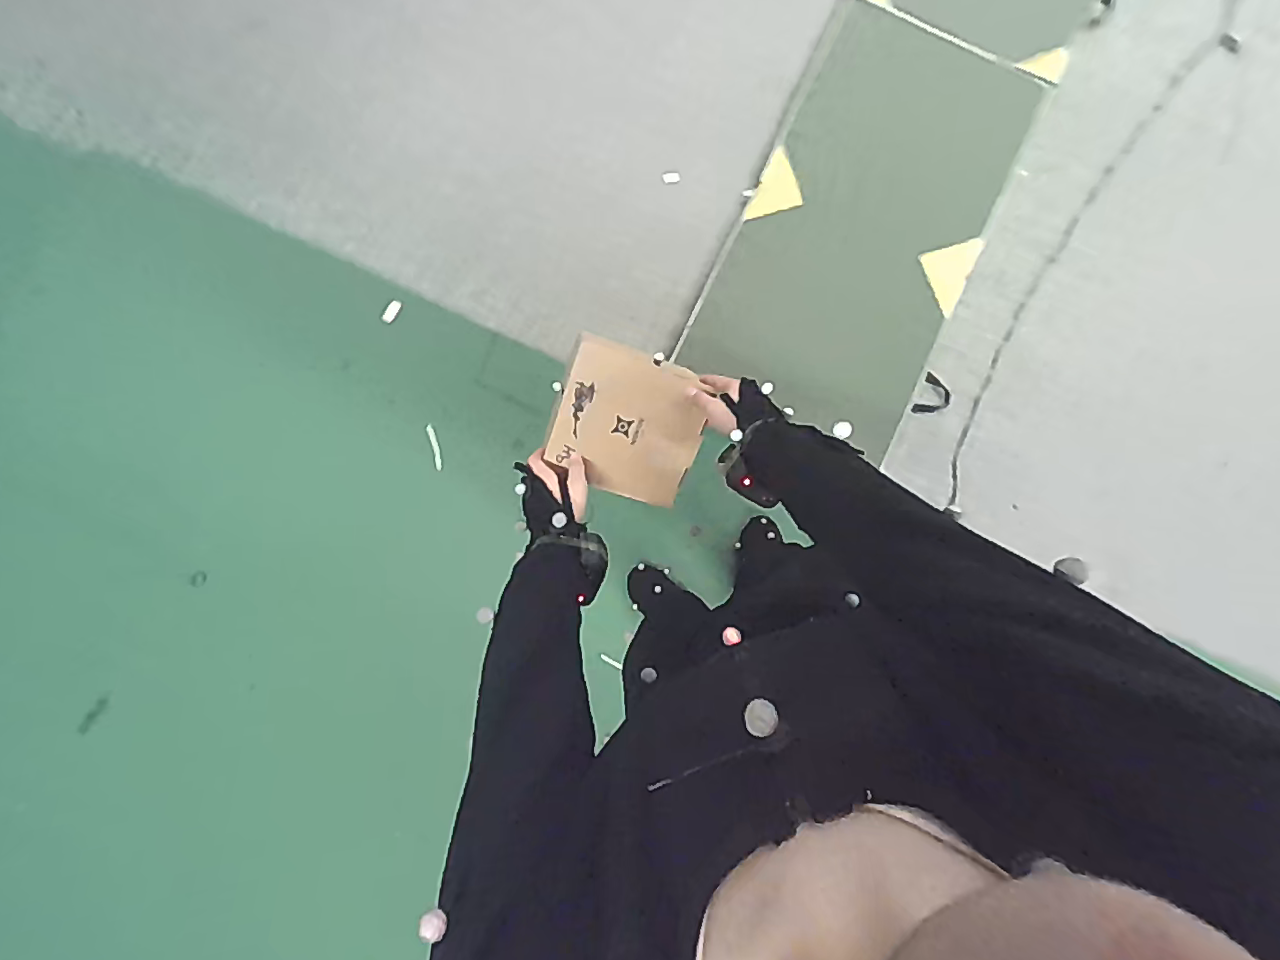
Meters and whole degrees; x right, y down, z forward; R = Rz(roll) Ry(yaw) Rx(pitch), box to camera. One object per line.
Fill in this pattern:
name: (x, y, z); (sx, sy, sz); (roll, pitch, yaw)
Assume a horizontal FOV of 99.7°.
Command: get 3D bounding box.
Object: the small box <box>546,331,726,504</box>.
small box: (-0.015, -0.092, 0.718); (0.179, 0.176, 0.168); (18, 104, -13)
